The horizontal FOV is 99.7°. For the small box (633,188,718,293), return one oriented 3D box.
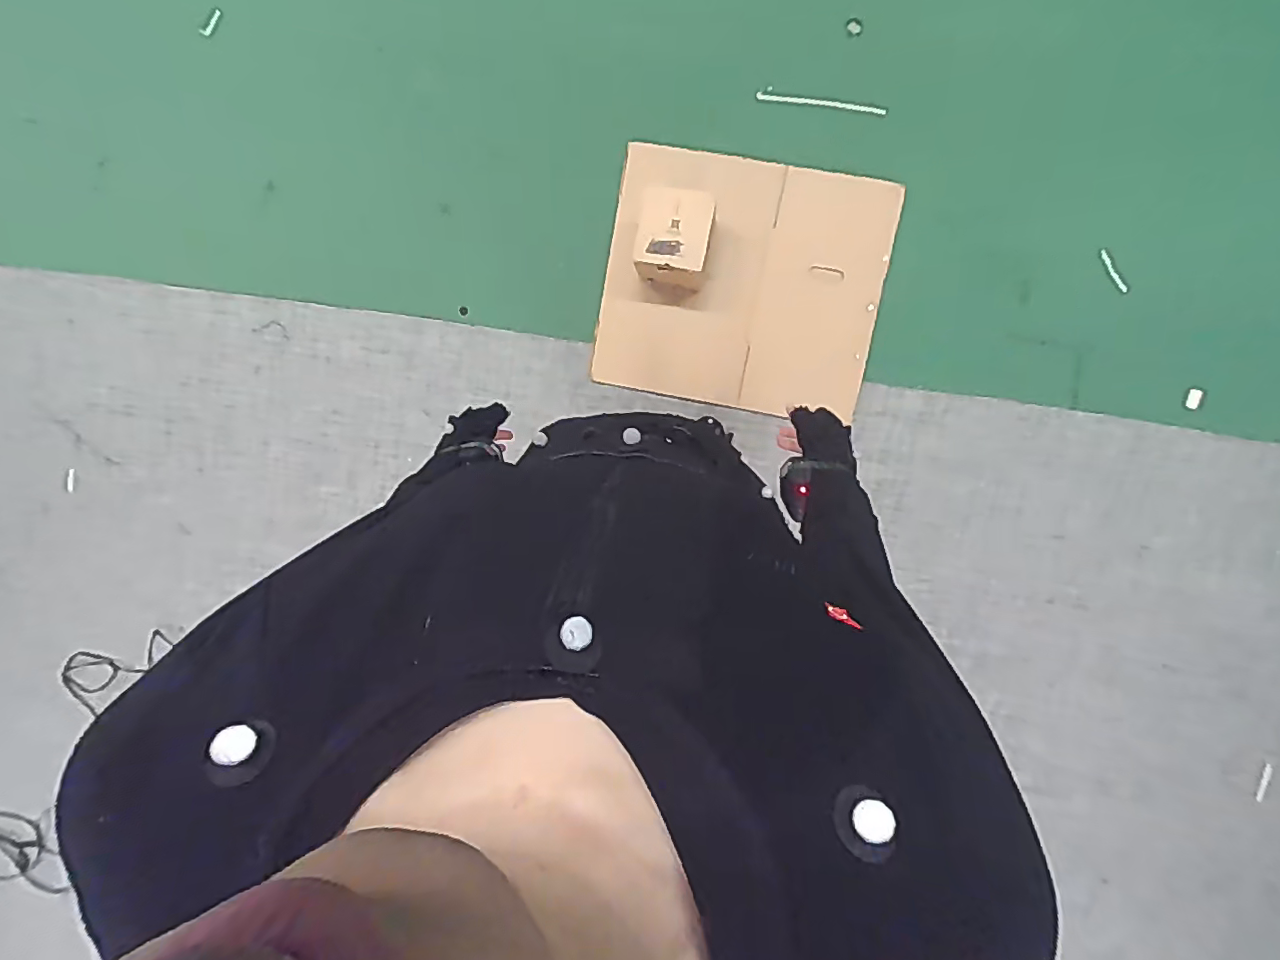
[{"bbox_3d":[0.088,-0.566,1.304,0.168,0.176,0.179,13,96,5],"label":"small box"}]
